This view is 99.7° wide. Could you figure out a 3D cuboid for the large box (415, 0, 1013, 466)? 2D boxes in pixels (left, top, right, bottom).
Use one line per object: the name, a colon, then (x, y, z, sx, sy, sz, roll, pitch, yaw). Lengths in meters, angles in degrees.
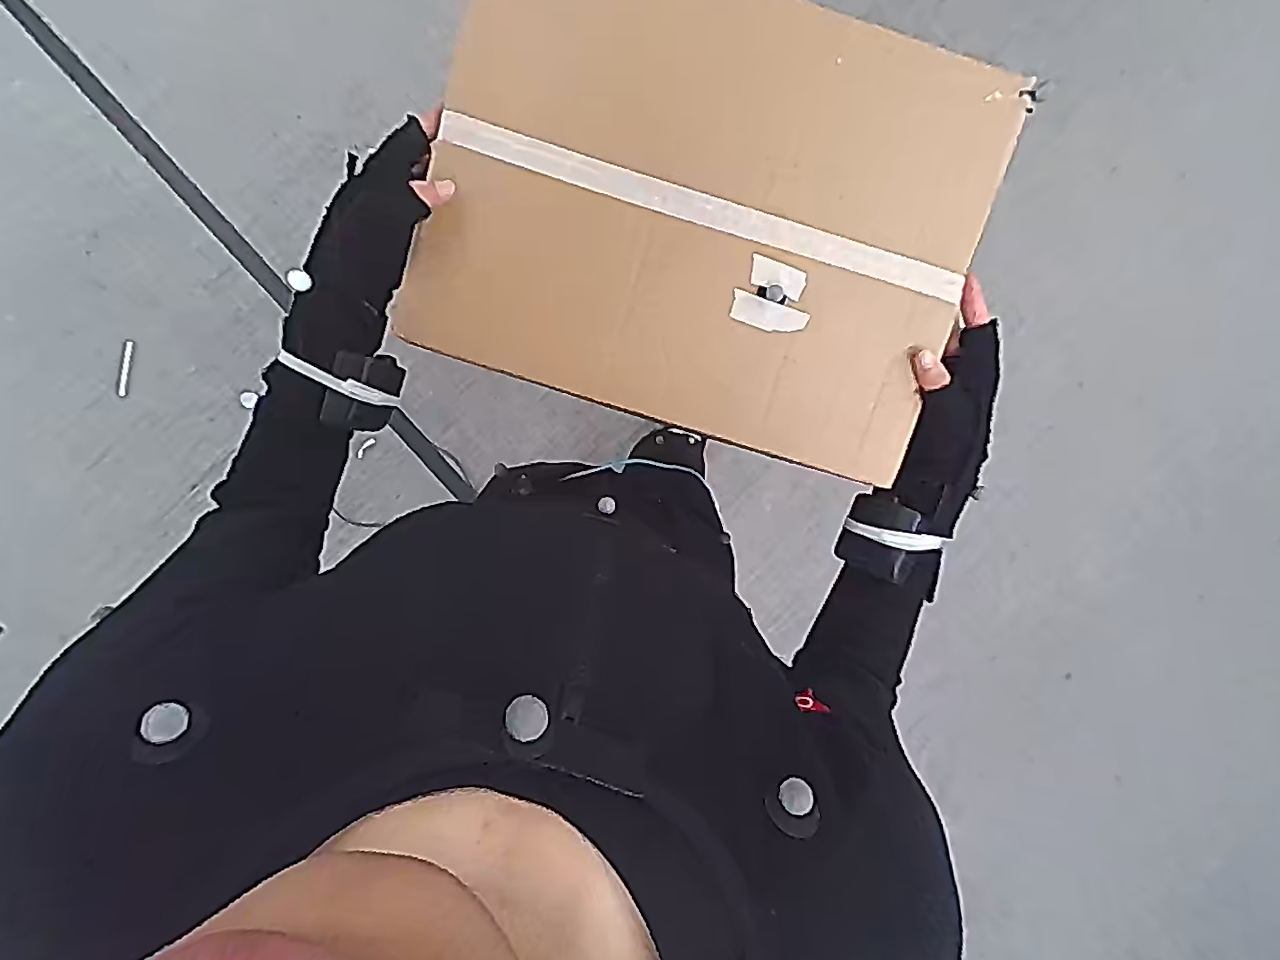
large box: (0.050, -0.225, 0.564, 0.408, 0.320, 0.320, 17, 97, -3)
